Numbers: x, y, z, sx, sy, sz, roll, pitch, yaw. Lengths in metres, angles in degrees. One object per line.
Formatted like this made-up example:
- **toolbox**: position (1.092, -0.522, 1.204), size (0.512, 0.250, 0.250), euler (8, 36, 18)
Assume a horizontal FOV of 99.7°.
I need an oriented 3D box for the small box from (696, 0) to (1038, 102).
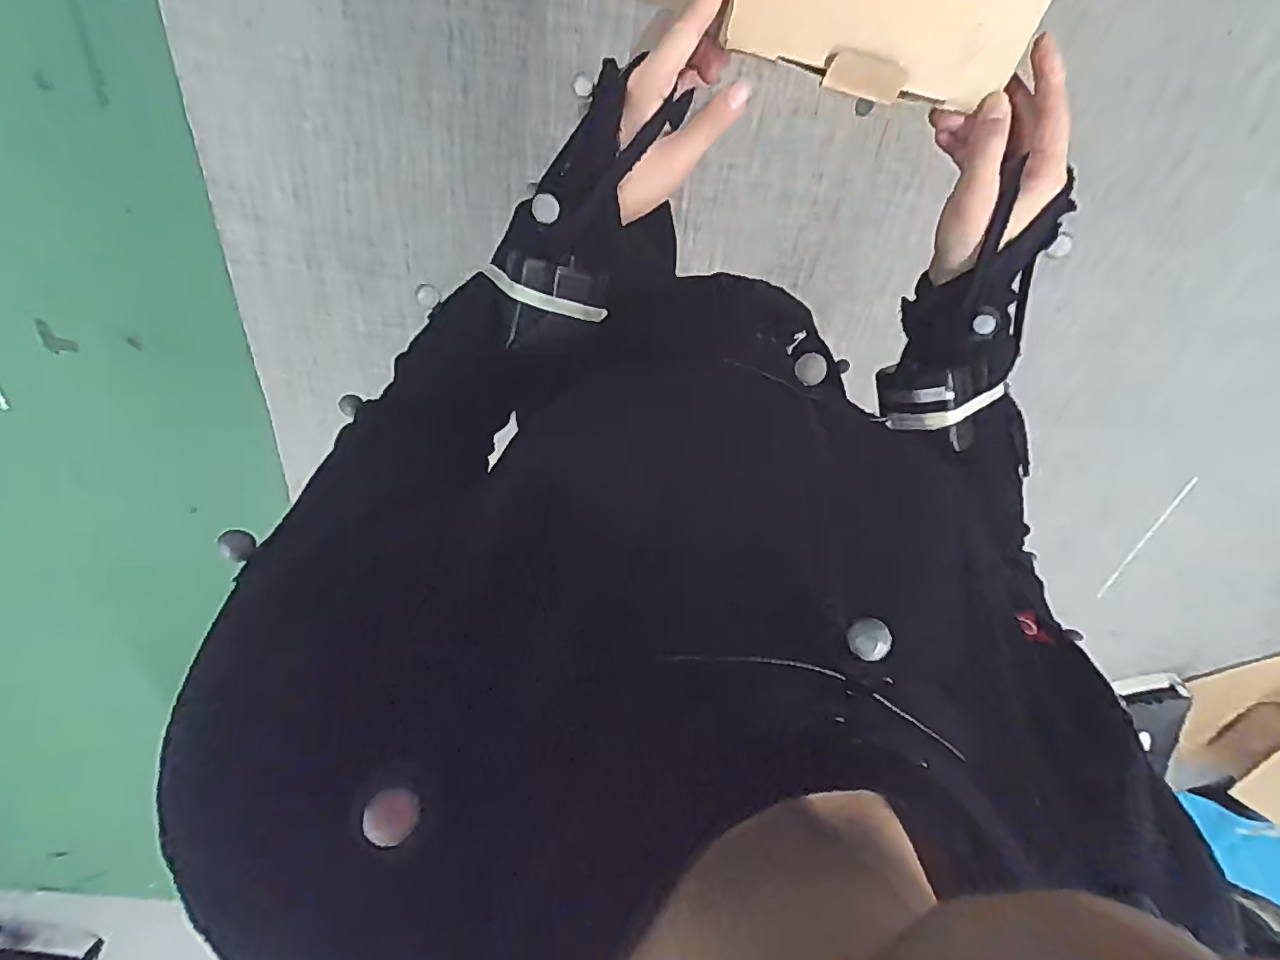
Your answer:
- **small box**: position (0.134, -0.345, 0.307), size (0.168, 0.176, 0.179), euler (7, 129, -9)
